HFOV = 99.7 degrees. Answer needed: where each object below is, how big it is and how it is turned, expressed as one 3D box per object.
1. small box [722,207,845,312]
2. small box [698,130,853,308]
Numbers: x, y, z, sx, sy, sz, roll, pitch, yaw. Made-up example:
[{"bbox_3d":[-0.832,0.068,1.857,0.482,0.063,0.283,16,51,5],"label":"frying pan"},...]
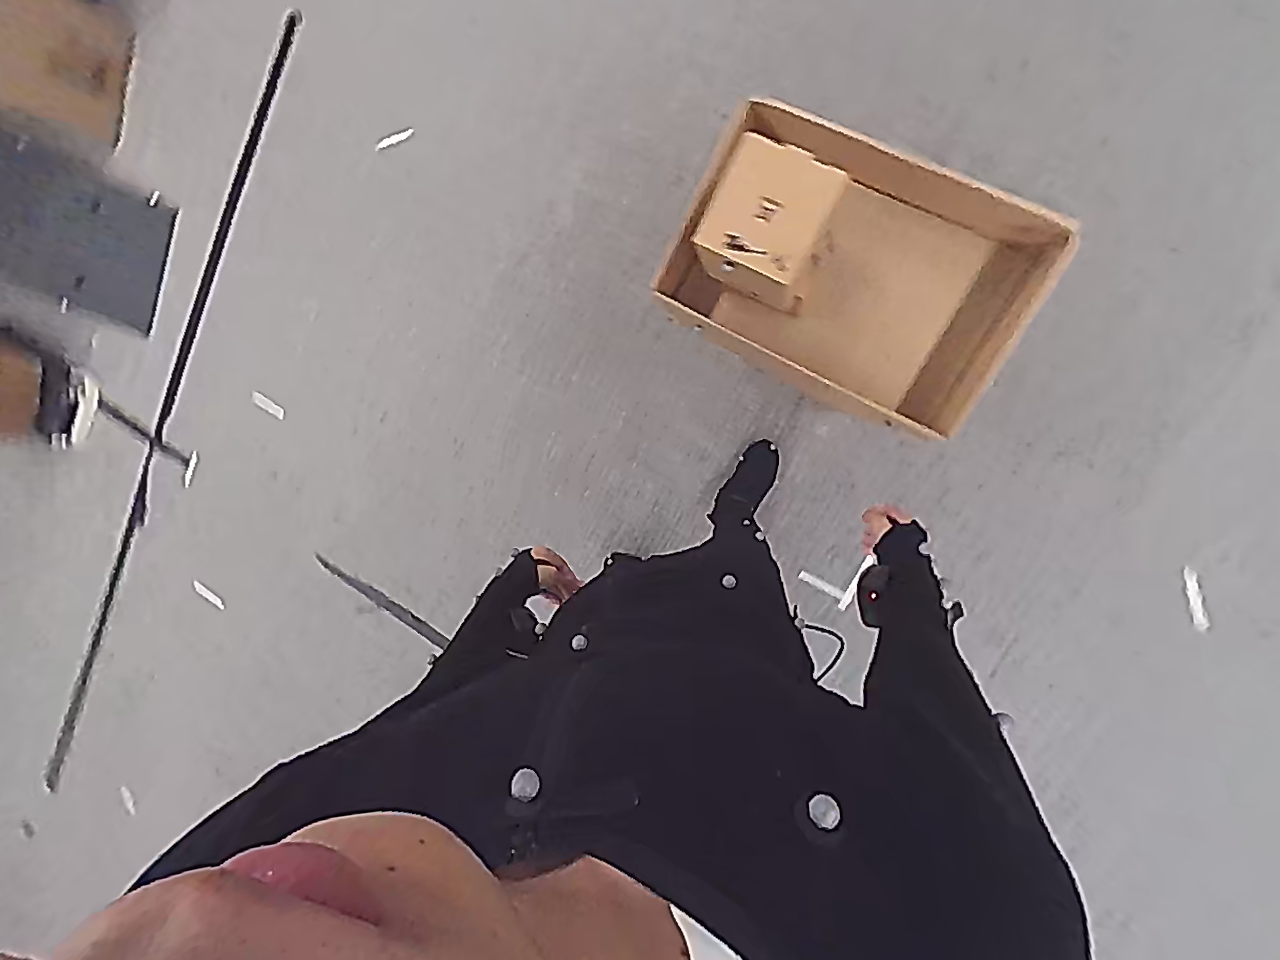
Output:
[{"bbox_3d":[0.263,-0.437,1.031,0.179,0.176,0.168,25,99,11],"label":"small box"},{"bbox_3d":[0.214,-0.408,0.877,0.168,0.176,0.179,31,100,10],"label":"small box"}]
